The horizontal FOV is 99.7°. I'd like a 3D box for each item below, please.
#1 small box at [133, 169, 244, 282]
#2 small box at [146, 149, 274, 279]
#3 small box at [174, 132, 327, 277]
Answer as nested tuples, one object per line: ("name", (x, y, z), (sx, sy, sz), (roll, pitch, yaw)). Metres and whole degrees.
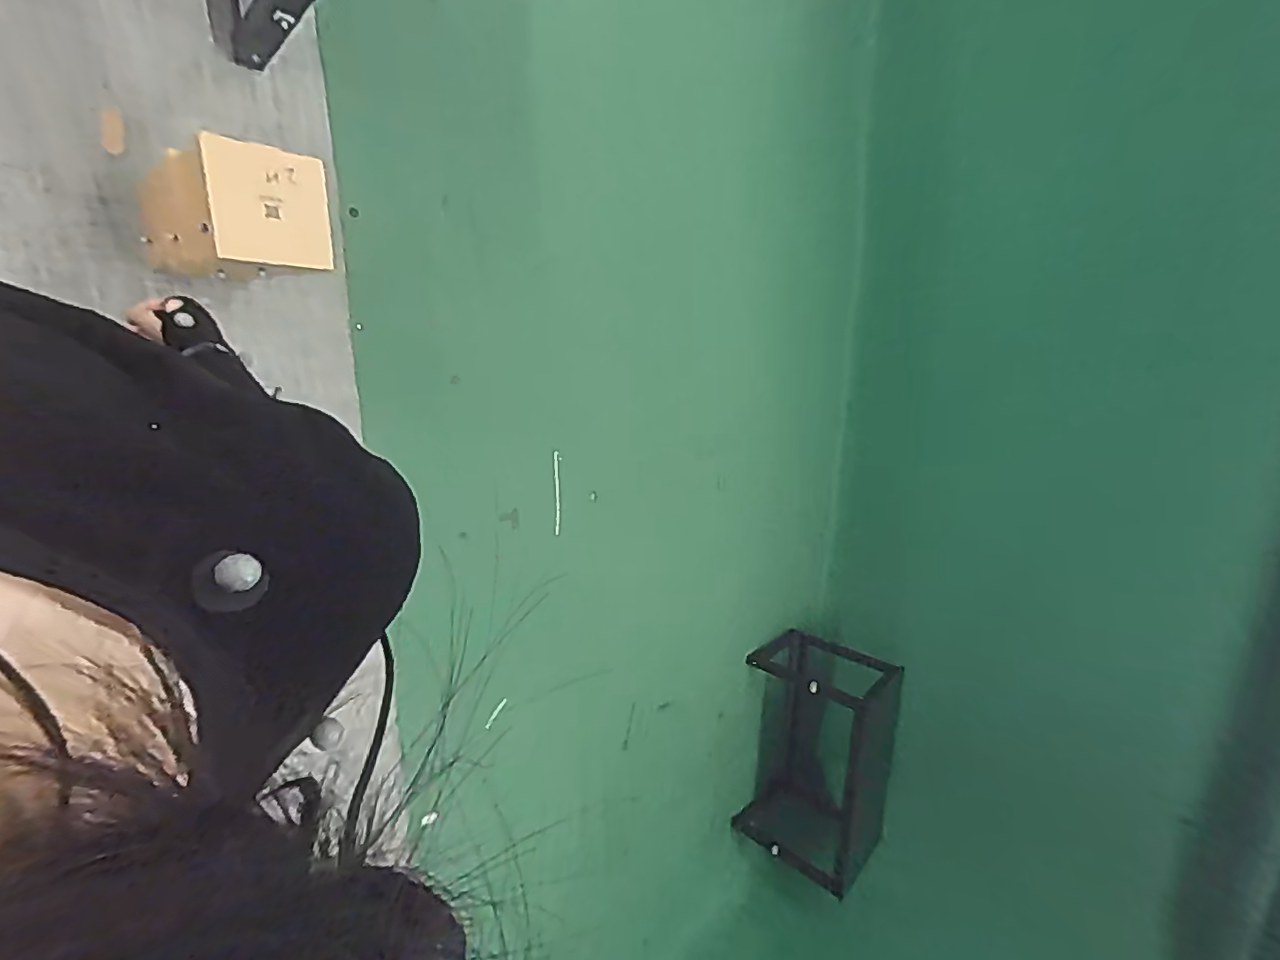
("small box", (-0.904, -0.503, 1.100), (0.179, 0.176, 0.168), (-11, 107, -47))
("small box", (-0.781, -0.476, 0.999), (0.168, 0.176, 0.179), (-14, 111, -46))
("small box", (-0.649, -0.442, 0.904), (0.168, 0.176, 0.179), (-14, 110, -47))
